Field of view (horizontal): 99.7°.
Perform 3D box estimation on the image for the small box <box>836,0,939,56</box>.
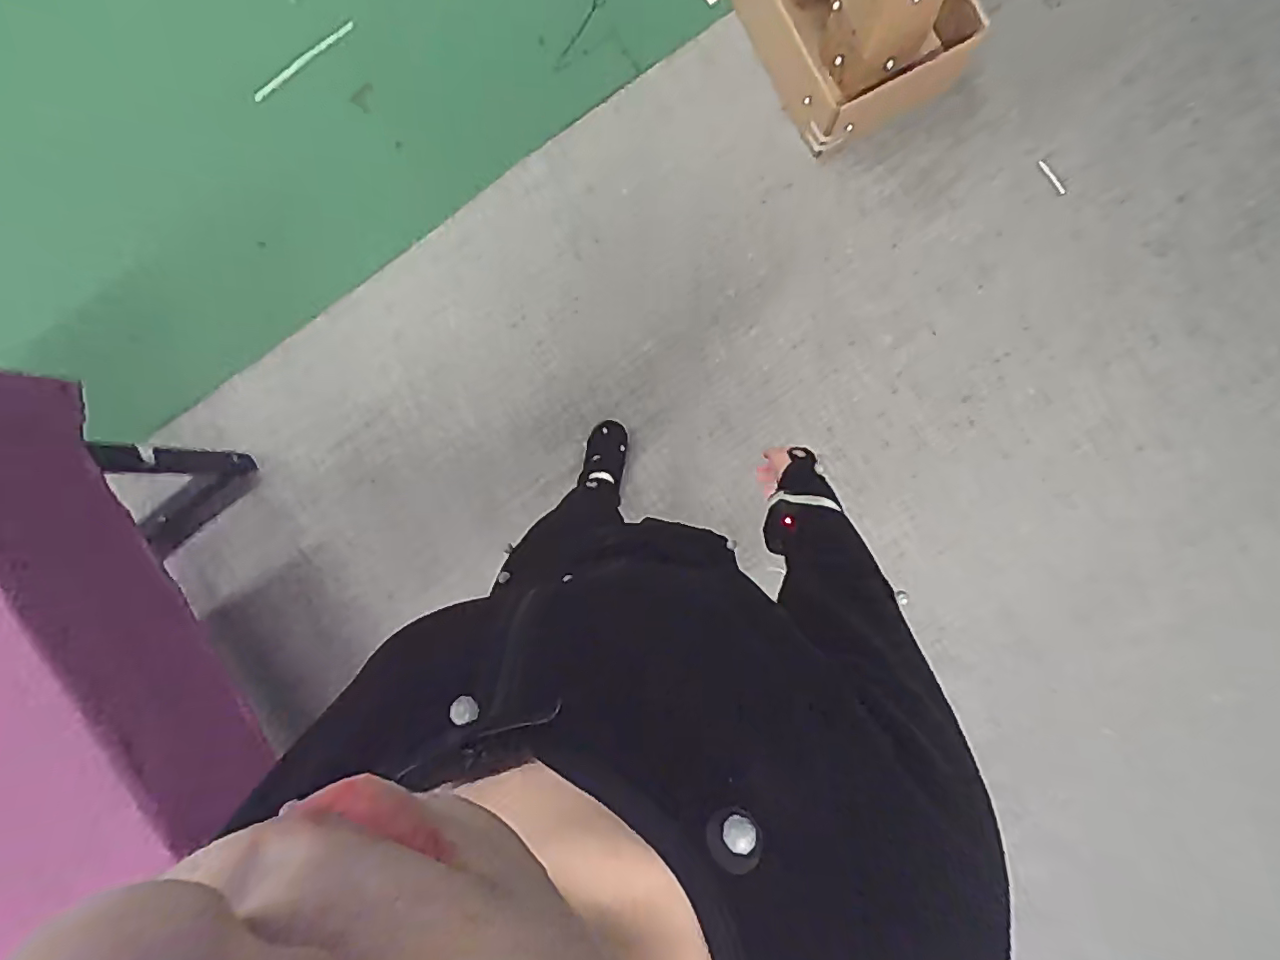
[{"bbox_3d":[0.545,-1.078,1.165,0.179,0.176,0.168,-28,86,4],"label":"small box"}]
